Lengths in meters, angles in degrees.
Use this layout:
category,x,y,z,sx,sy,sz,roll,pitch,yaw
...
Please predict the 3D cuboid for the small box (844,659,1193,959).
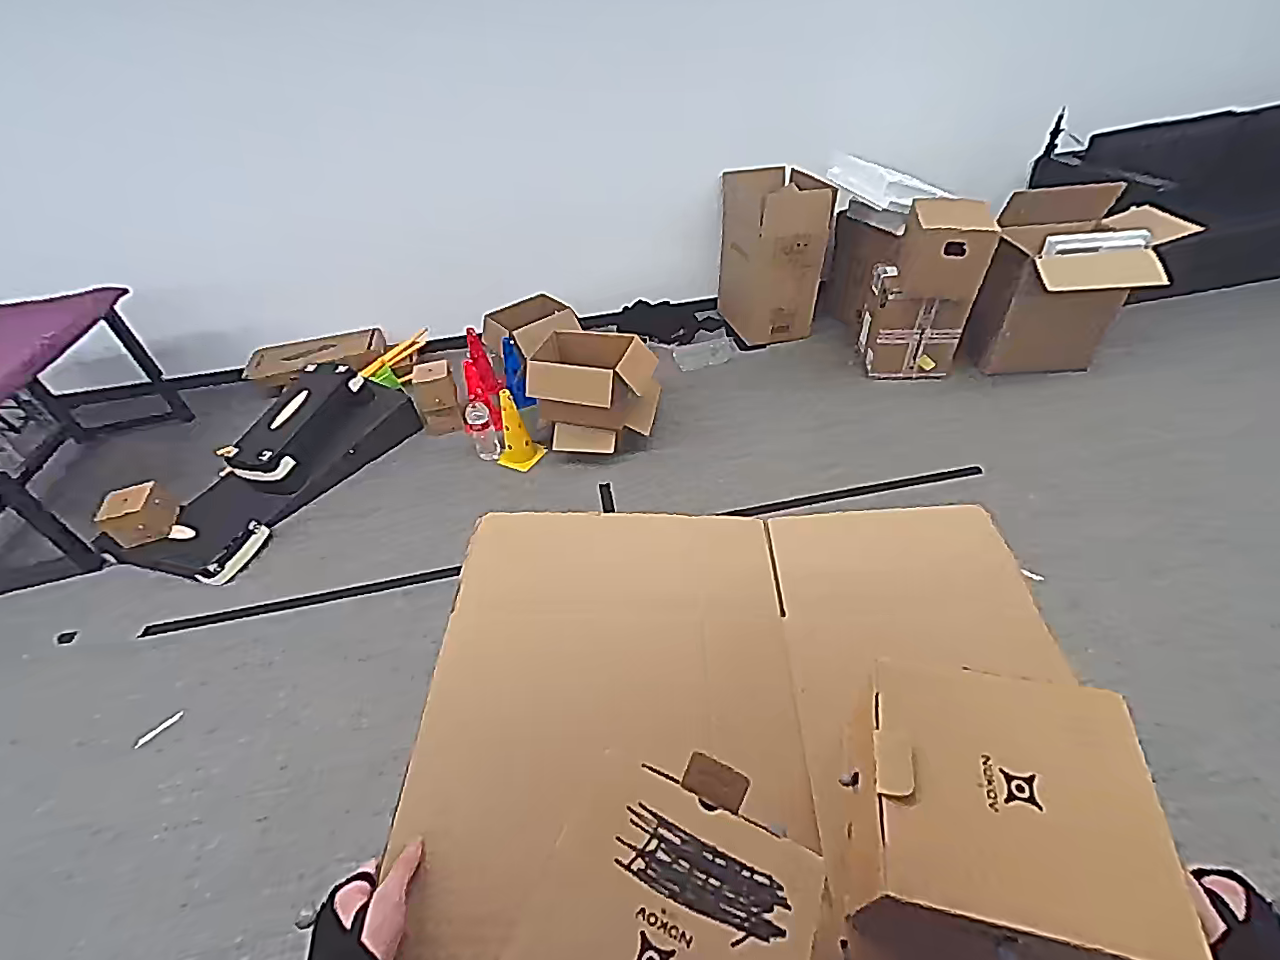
category,x,y,z,sx,sy,sz,roll,pitch,yaw
small box,0.272,0.272,0.446,0.179,0.176,0.168,4,49,16
